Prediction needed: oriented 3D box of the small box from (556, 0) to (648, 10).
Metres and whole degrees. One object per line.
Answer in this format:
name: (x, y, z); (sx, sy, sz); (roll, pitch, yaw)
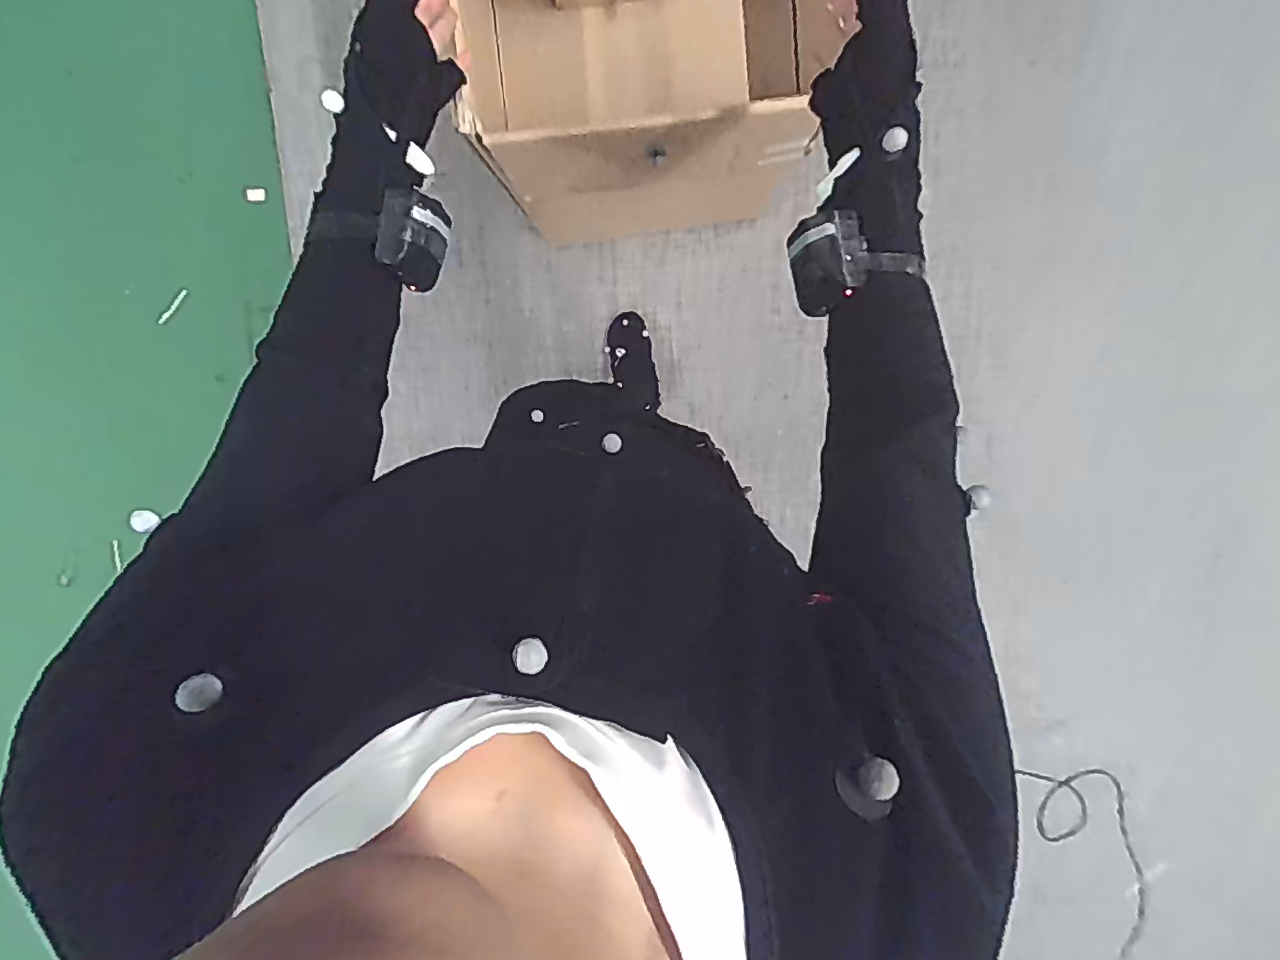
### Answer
small box: (-0.025, -0.653, 0.574); (0.179, 0.176, 0.168); (-6, 97, 2)
